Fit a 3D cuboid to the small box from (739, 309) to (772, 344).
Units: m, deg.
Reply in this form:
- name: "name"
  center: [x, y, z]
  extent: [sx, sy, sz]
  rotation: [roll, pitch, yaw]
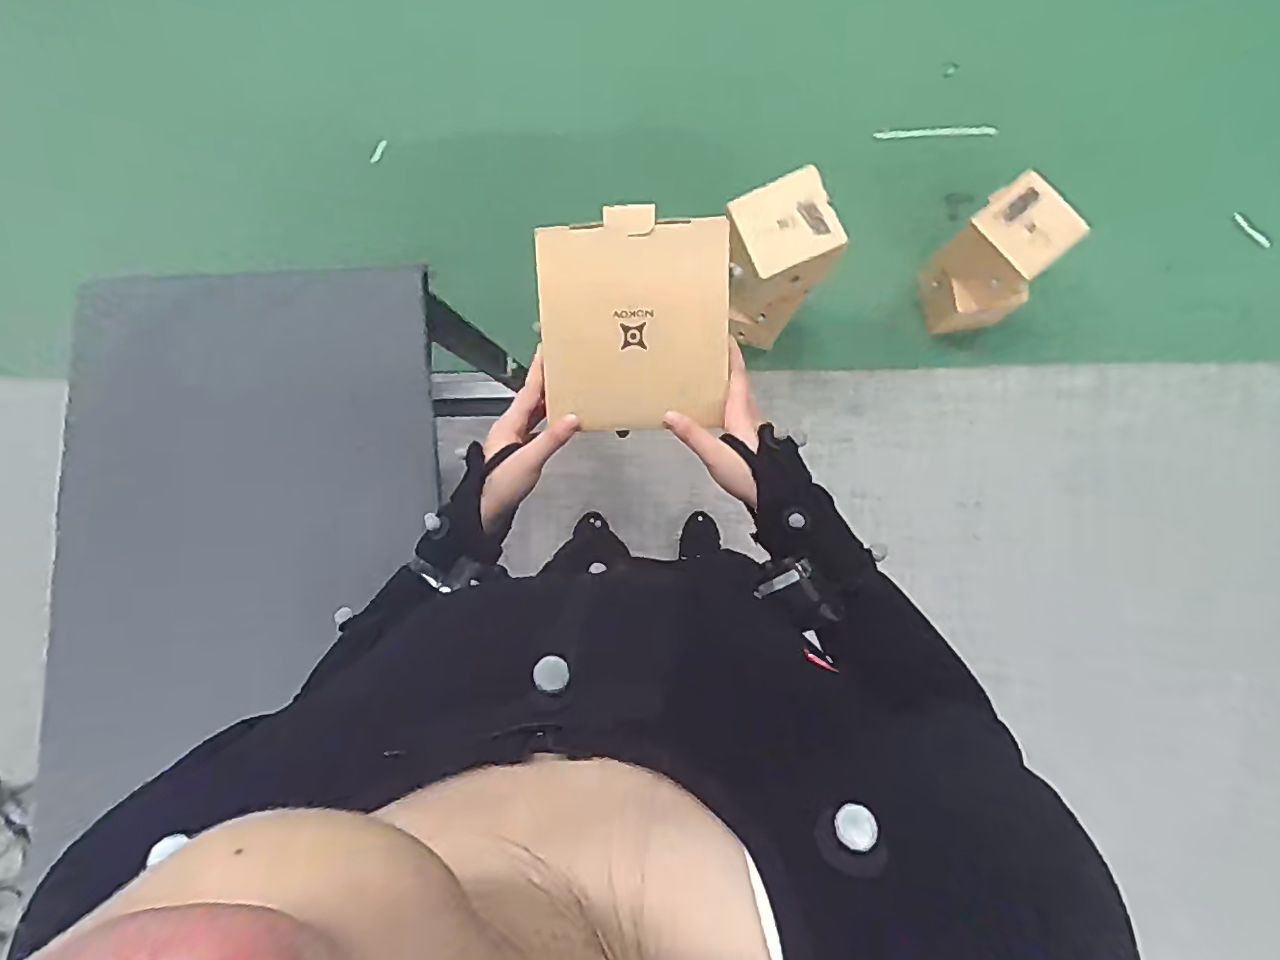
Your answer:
- name: "small box"
  center: [0.284, -0.474, 1.408]
  extent: [0.168, 0.176, 0.179]
  rotation: [17, 89, 5]

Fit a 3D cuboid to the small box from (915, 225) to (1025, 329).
- name: "small box"
  center: [0.816, -0.503, 1.357]
  extent: [0.168, 0.176, 0.179]
  rotation: [-9, 86, 5]

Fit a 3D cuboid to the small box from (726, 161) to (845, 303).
- name: "small box"
  center: [0.275, -0.483, 1.081]
  extent: [0.179, 0.176, 0.168]
  rotation: [-23, 86, 5]

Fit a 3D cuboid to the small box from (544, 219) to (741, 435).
- name: "small box"
  center: [0.010, -0.143, 0.538]
  extent: [0.168, 0.176, 0.179]
  rotation: [-1, 102, 5]

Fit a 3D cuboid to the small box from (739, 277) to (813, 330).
- name: "small box"
  center: [0.300, -0.476, 1.244]
  extent: [0.168, 0.176, 0.179]
  rotation: [37, 91, 5]
